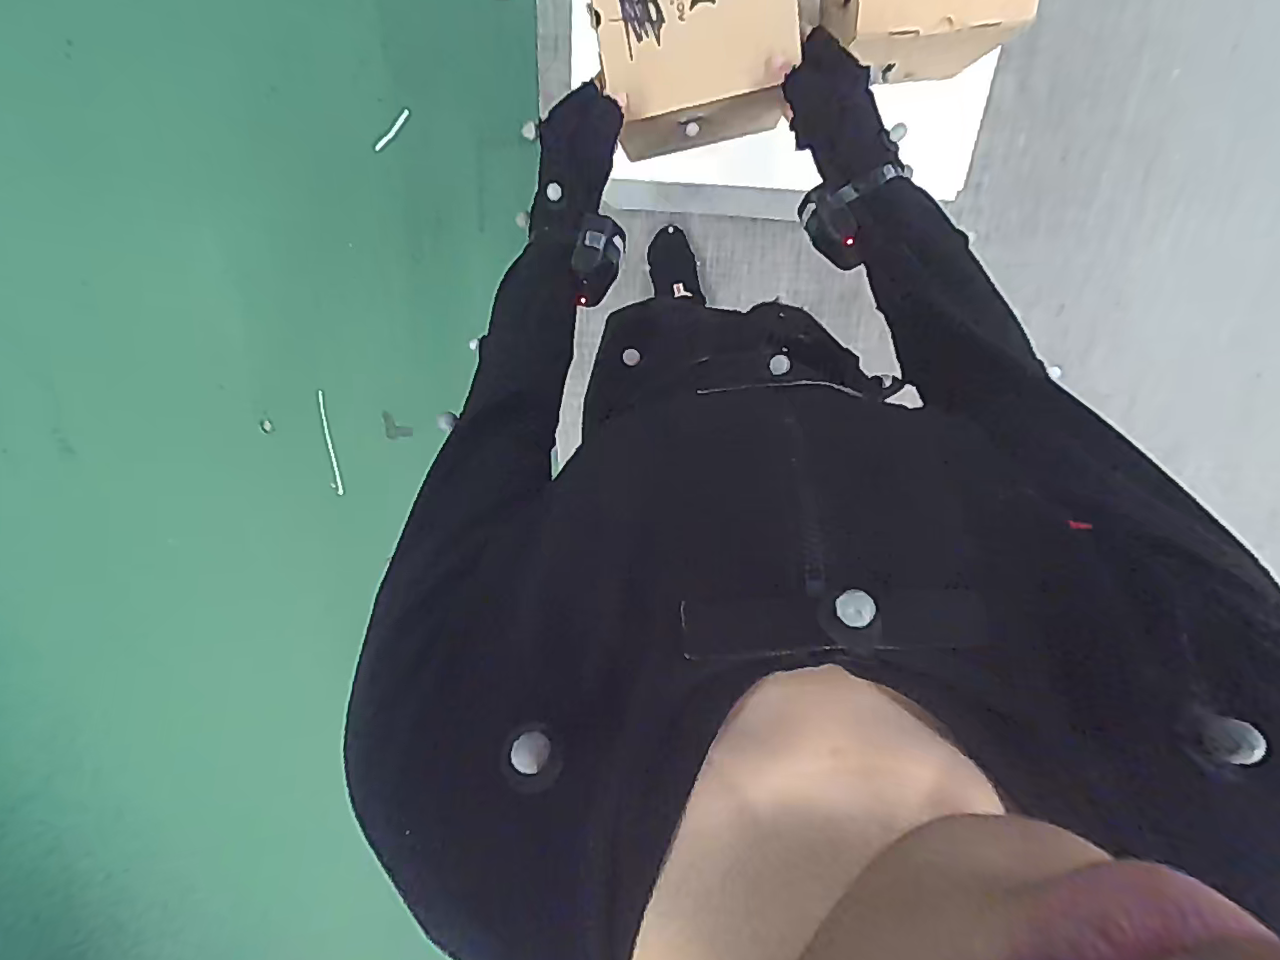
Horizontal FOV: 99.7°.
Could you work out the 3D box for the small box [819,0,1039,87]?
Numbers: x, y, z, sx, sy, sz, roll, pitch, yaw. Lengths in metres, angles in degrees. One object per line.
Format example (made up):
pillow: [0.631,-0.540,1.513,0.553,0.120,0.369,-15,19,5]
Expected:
small box: [0.287,-0.534,0.551,0.168,0.176,0.179,-1,113,5]

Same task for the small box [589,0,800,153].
small box: [0.050,-0.445,0.534,0.179,0.176,0.168,-8,109,8]
